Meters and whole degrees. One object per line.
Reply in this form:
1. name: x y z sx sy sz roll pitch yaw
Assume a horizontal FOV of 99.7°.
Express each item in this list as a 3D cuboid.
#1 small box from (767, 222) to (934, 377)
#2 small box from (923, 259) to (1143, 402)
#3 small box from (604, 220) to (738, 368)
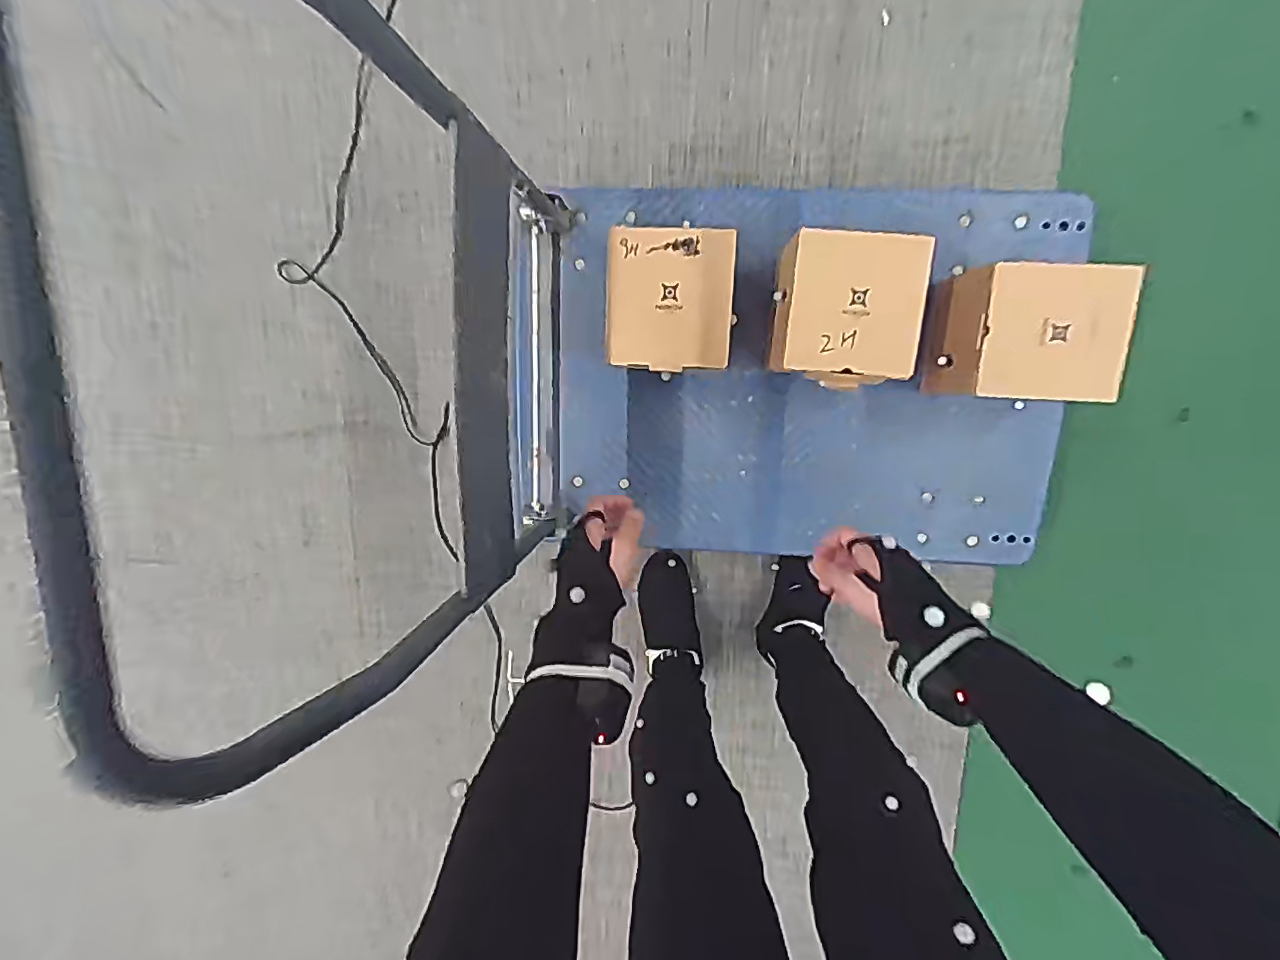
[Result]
1. small box: 0.280 -0.242 0.762 0.168 0.176 0.179 6 101 4
2. small box: 0.522 -0.200 0.750 0.179 0.176 0.168 4 102 4
3. small box: 0.045 -0.256 0.778 0.168 0.176 0.179 4 102 4
